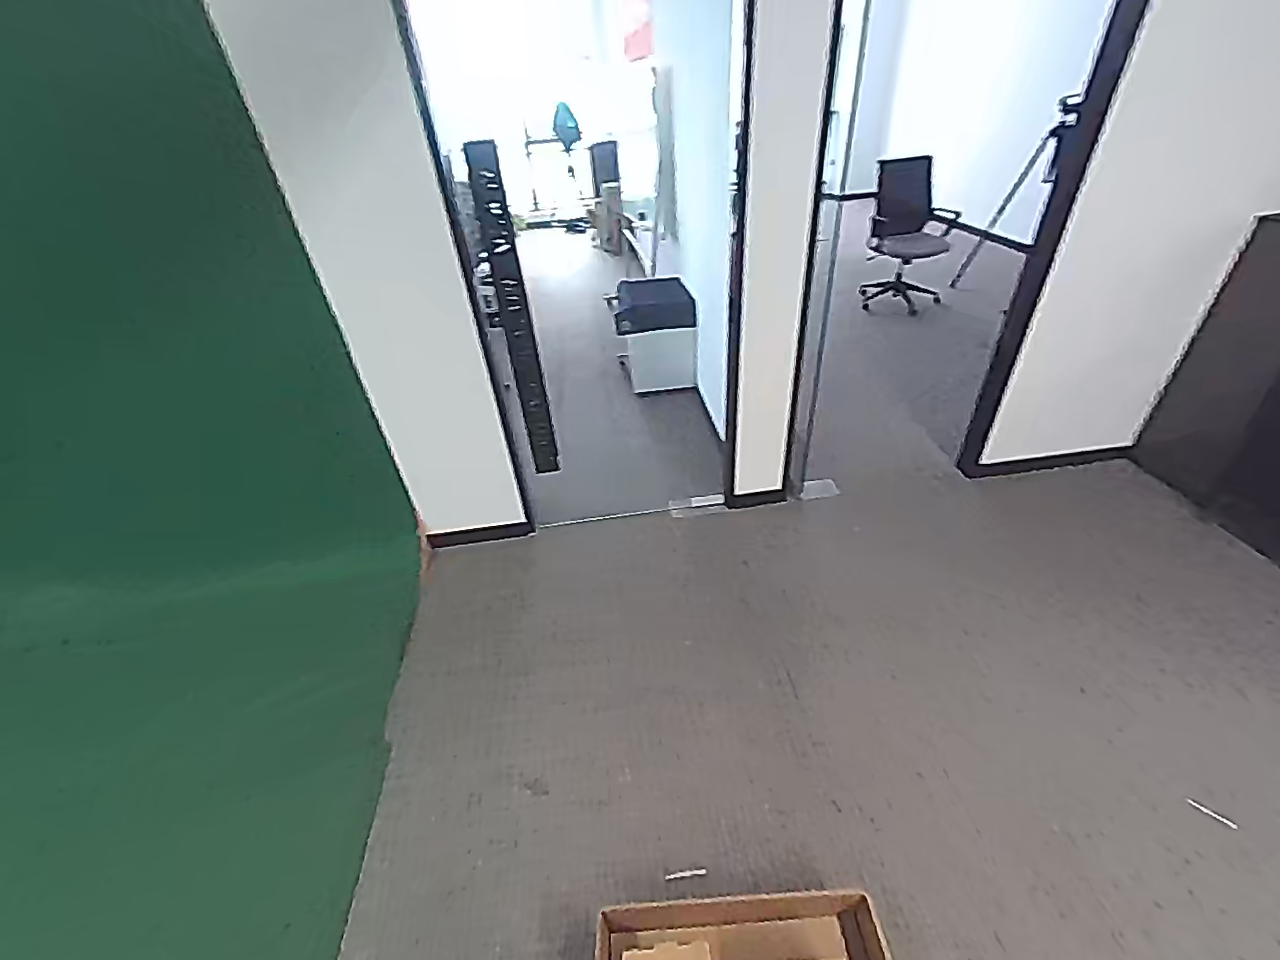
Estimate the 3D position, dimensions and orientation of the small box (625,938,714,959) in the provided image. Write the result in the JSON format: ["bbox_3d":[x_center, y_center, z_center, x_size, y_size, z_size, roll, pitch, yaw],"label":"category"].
[{"bbox_3d":[0.063,0.975,0.978,0.168,0.176,0.179,-7,35,-1],"label":"small box"}]
